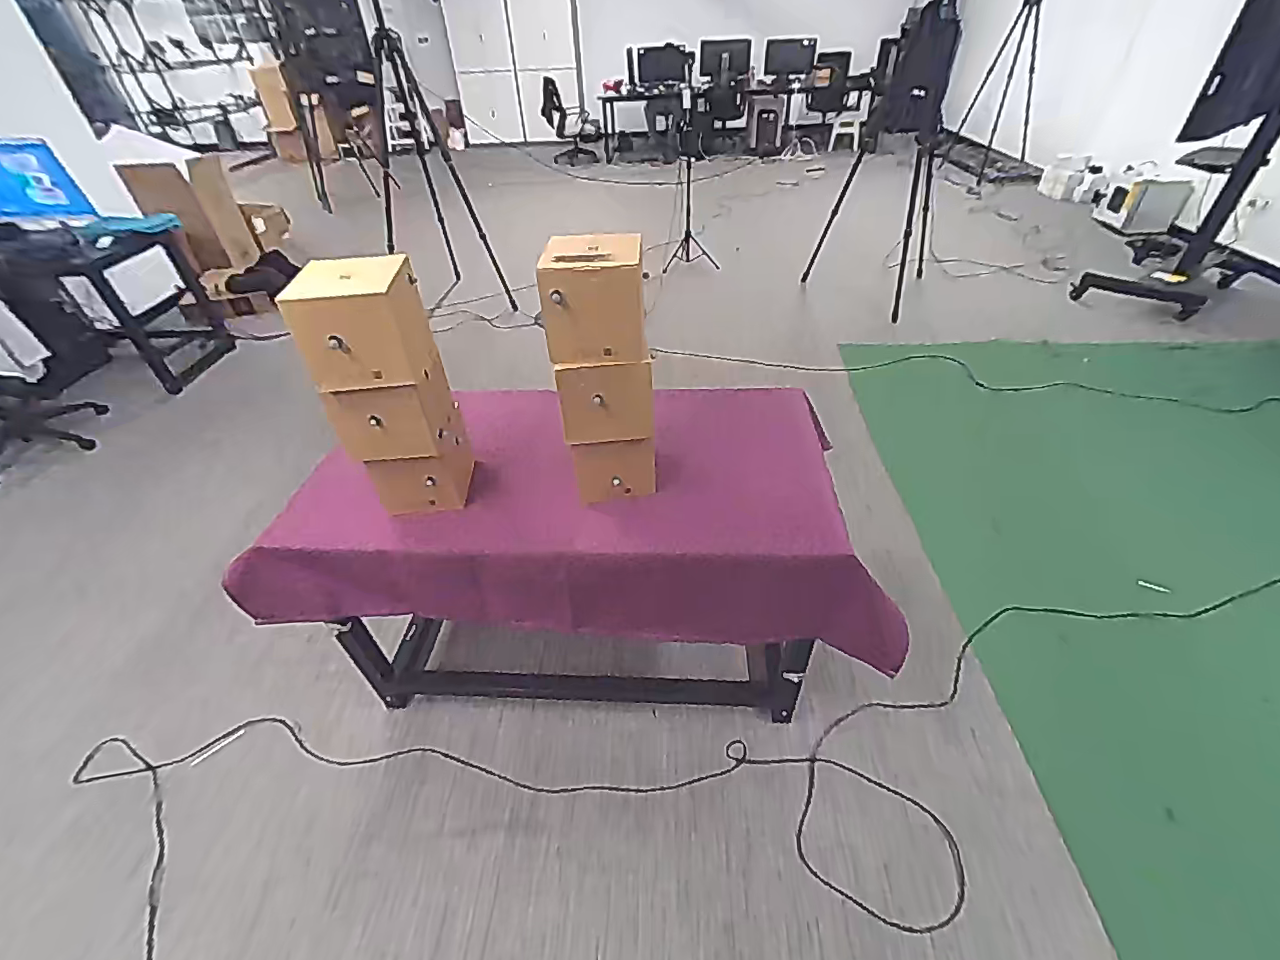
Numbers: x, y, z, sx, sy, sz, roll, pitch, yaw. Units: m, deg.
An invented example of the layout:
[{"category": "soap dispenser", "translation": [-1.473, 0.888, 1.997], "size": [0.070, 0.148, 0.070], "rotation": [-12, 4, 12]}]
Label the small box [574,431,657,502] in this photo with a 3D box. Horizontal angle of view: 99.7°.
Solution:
[{"category": "small box", "translation": [-0.059, -0.076, 1.181], "size": [0.168, 0.176, 0.179], "rotation": [-8, 41, -5]}]

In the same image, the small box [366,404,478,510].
[{"category": "small box", "translation": [-0.463, -0.046, 1.182], "size": [0.168, 0.176, 0.179], "rotation": [-4, 40, -1]}]

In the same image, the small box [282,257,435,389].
[{"category": "small box", "translation": [-0.472, -0.270, 0.942], "size": [0.168, 0.176, 0.179], "rotation": [-6, 40, -4]}]

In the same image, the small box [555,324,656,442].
[{"category": "small box", "translation": [-0.064, -0.188, 1.059], "size": [0.179, 0.176, 0.168], "rotation": [-5, 41, -1]}]

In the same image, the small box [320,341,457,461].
[{"category": "small box", "translation": [-0.474, -0.154, 1.056], "size": [0.179, 0.176, 0.168], "rotation": [-4, 41, -1]}]
